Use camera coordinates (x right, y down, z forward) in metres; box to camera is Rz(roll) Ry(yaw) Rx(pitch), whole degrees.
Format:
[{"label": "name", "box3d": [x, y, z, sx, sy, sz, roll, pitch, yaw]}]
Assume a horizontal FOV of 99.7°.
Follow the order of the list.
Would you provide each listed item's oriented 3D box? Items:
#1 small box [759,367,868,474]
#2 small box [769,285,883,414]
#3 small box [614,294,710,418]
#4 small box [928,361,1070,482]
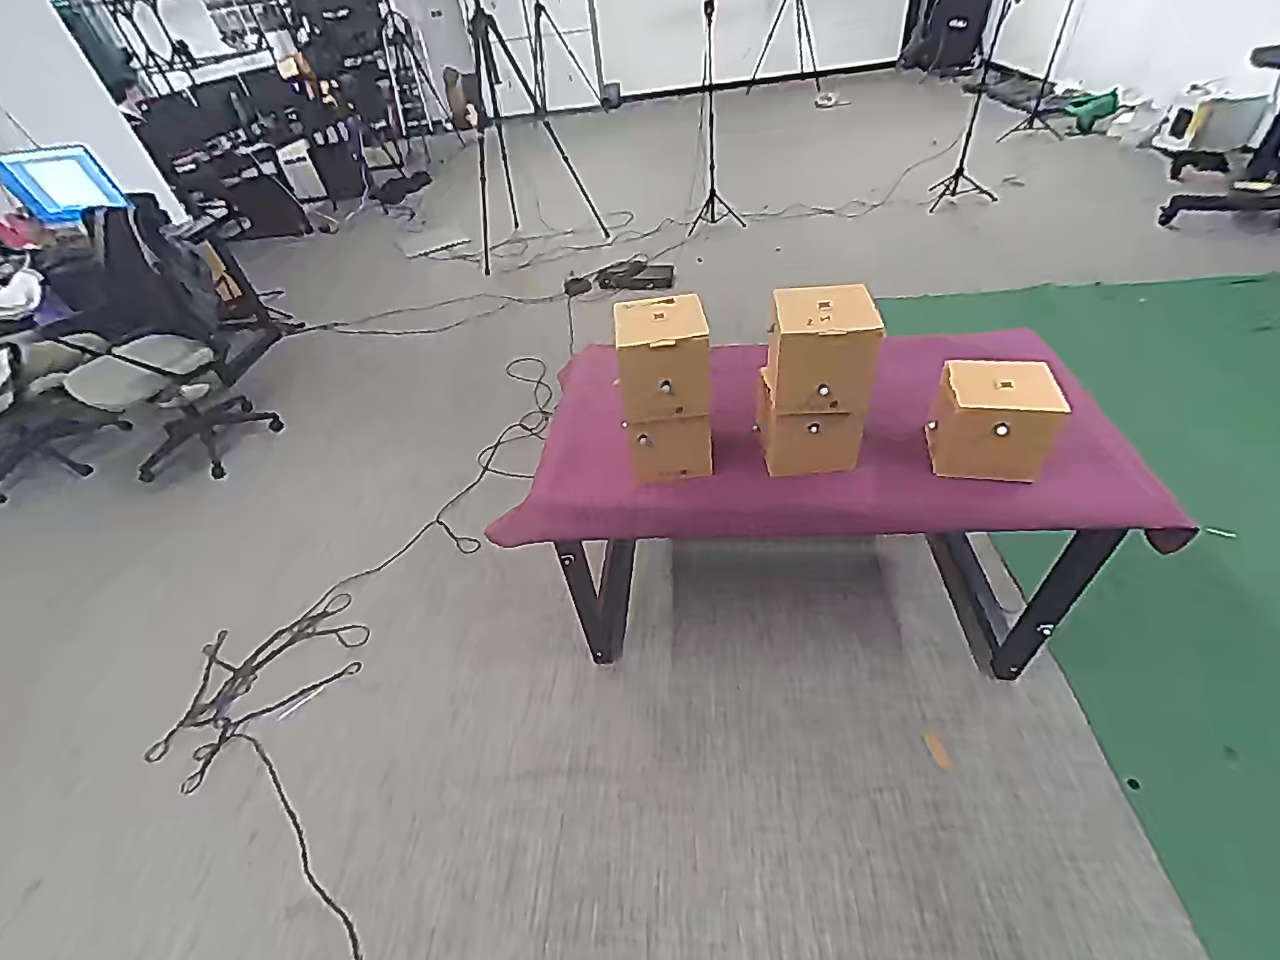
[{"label": "small box", "box3d": [0.346, -0.126, 1.116, 0.179, 0.176, 0.168, -5, 43, 3]}, {"label": "small box", "box3d": [0.331, -0.240, 0.999, 0.168, 0.176, 0.179, -1, 44, 9]}, {"label": "small box", "box3d": [0.042, -0.232, 1.036, 0.168, 0.176, 0.179, -6, 43, 2]}, {"label": "small box", "box3d": [0.678, -0.112, 1.046, 0.179, 0.176, 0.168, 4, 43, 16]}]
